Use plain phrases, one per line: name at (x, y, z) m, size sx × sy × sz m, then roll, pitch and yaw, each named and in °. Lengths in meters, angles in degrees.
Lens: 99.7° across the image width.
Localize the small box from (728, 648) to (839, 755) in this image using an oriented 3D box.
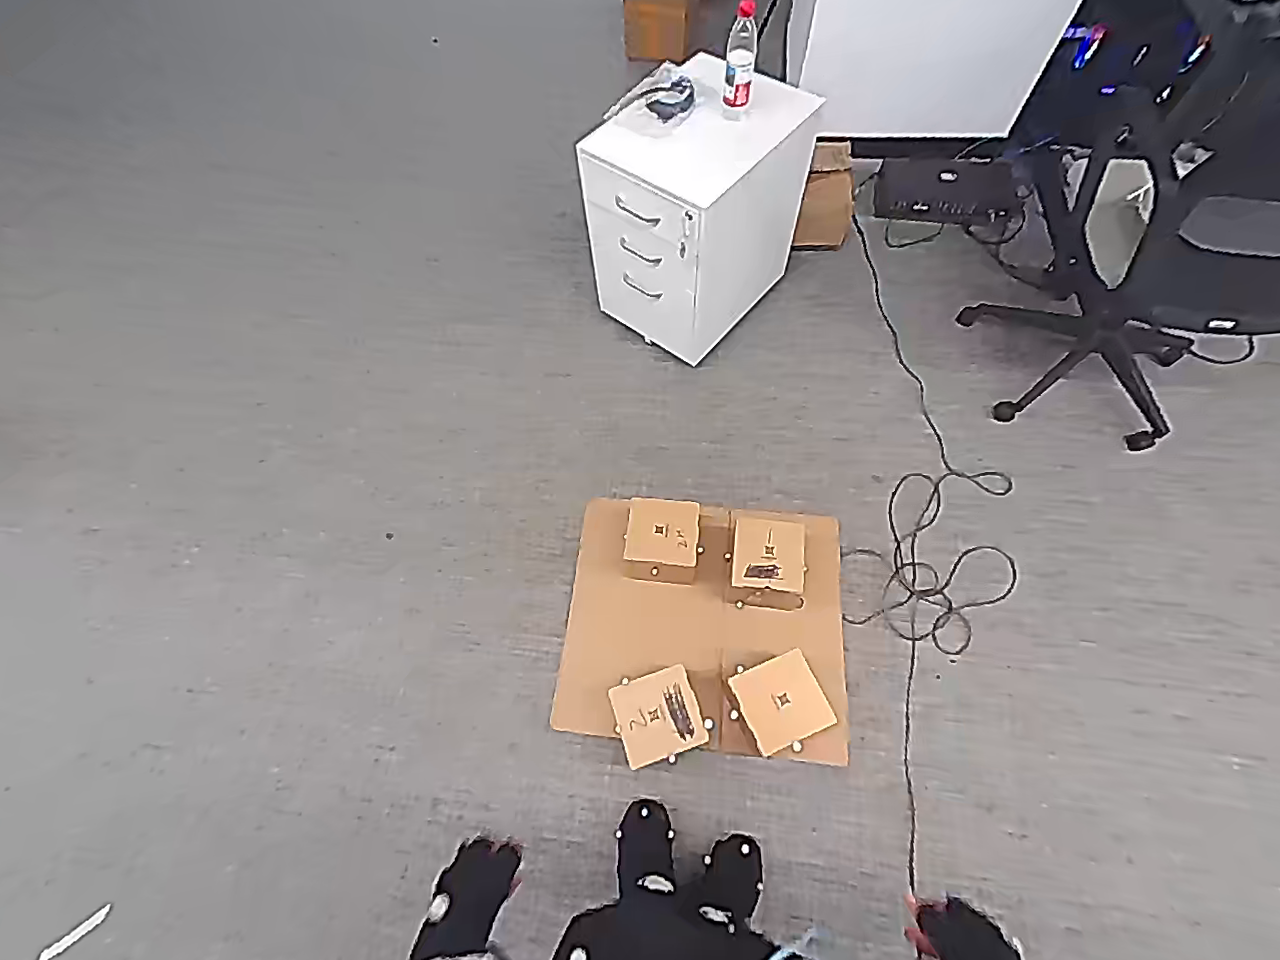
small box at (0.313, 0.499, 1.220) m, size 0.179 × 0.176 × 0.168 m, roll -23°, pitch 64°, yaw -5°
